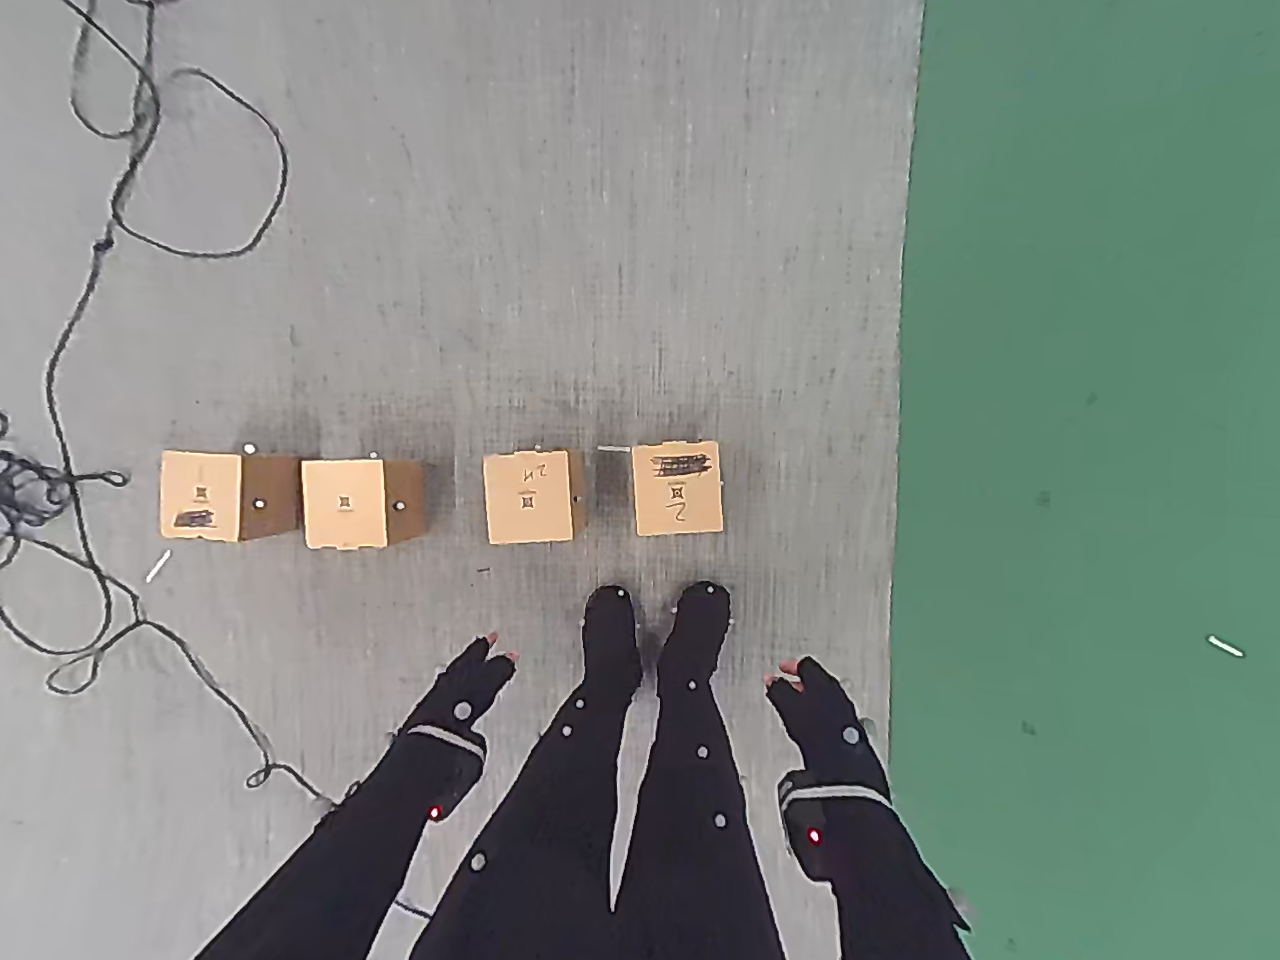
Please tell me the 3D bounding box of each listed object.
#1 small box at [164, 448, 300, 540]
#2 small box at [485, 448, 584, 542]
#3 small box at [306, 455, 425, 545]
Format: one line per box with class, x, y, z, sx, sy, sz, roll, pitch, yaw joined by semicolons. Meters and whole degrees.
small box;-0.861;0.024;1.154;0.168;0.176;0.179;4;92;3
small box;-0.211;0.024;1.123;0.168;0.176;0.179;-3;93;2
small box;-0.570;0.037;1.142;0.168;0.176;0.179;-1;94;3
